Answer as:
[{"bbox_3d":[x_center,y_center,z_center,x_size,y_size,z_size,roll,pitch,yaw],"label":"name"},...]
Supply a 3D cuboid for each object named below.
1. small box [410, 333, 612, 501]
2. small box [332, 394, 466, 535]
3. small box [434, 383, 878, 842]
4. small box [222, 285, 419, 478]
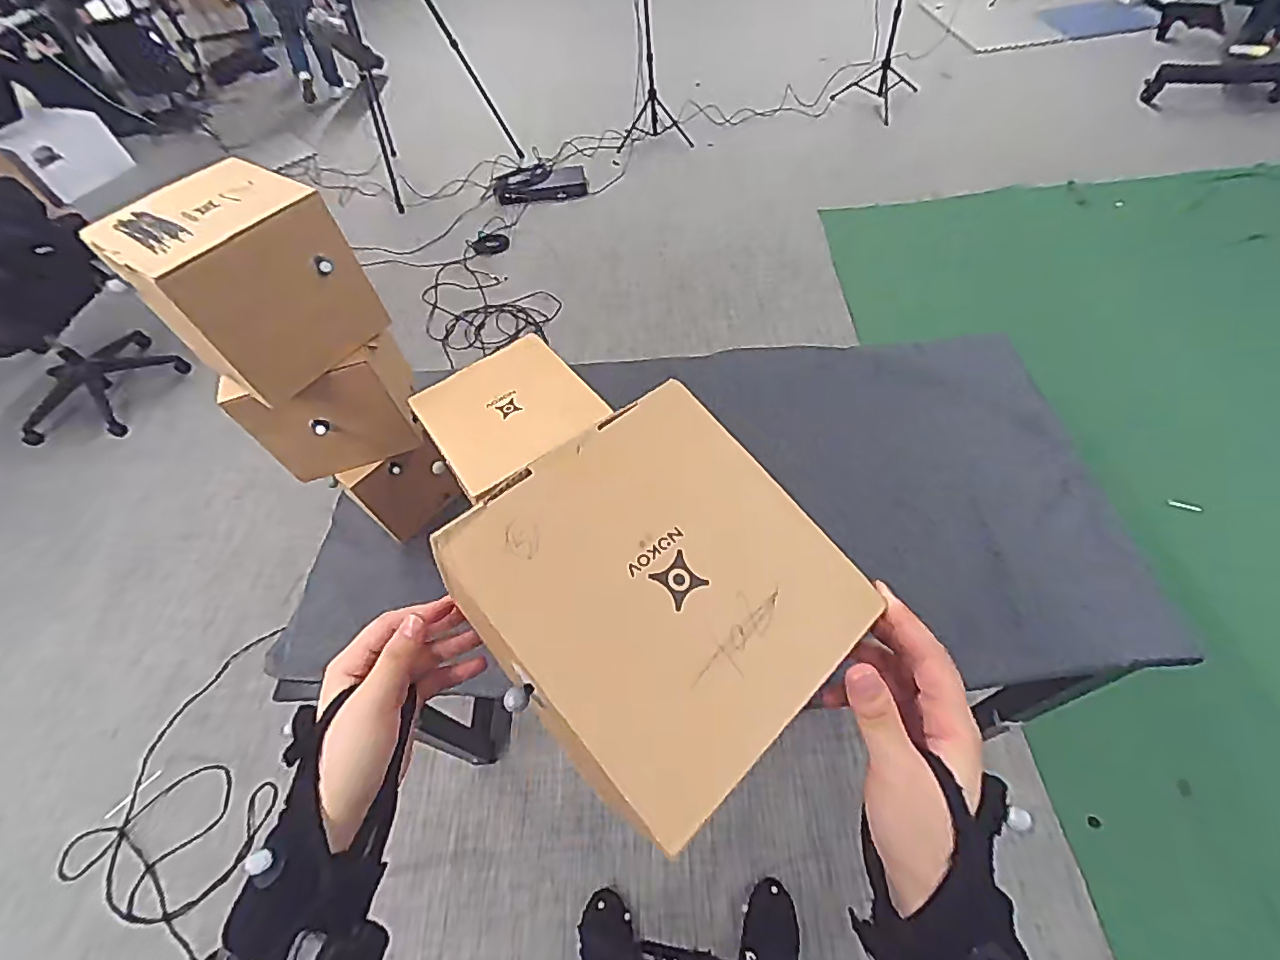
[{"bbox_3d":[-0.131,-0.032,0.639,0.168,0.176,0.179,-34,57,-16],"label":"small box"},{"bbox_3d":[-0.404,-0.040,0.881,0.179,0.176,0.168,32,65,26],"label":"small box"},{"bbox_3d":[-0.003,0.079,0.343,0.168,0.176,0.179,-36,79,-24],"label":"small box"},{"bbox_3d":[-0.421,-0.130,0.745,0.179,0.176,0.168,-19,56,-6],"label":"small box"}]
